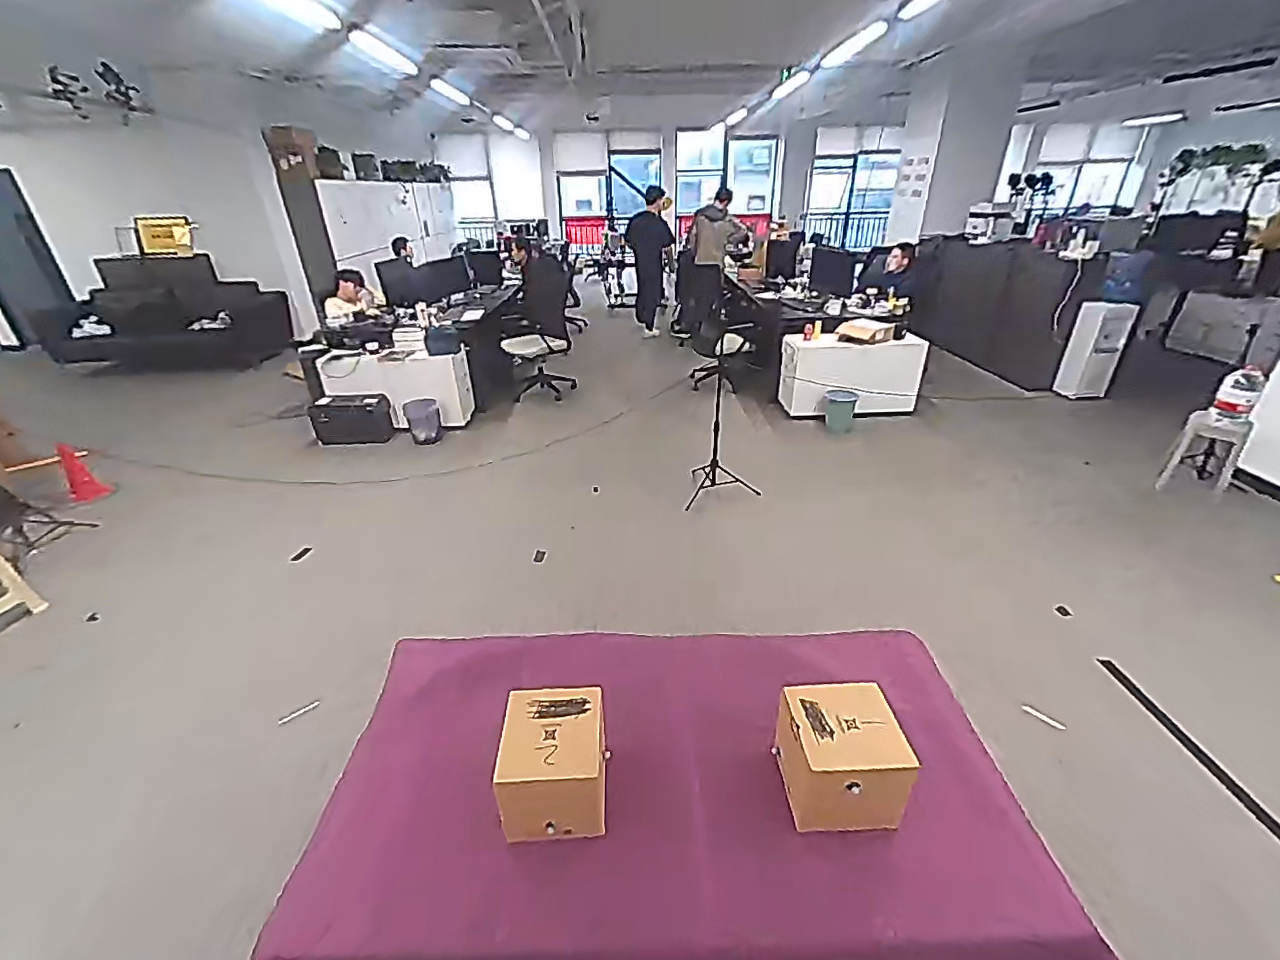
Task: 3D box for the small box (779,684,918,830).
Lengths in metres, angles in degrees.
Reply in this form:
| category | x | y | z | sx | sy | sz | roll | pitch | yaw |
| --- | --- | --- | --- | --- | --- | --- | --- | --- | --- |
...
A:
| category | x | y | z | sx | sy | sz | roll | pitch | yaw |
| --- | --- | --- | --- | --- | --- | --- | --- | --- | --- |
| small box | 0.348 | 0.481 | 0.942 | 0.179 | 0.176 | 0.168 | -1 | 28 | -1 |
